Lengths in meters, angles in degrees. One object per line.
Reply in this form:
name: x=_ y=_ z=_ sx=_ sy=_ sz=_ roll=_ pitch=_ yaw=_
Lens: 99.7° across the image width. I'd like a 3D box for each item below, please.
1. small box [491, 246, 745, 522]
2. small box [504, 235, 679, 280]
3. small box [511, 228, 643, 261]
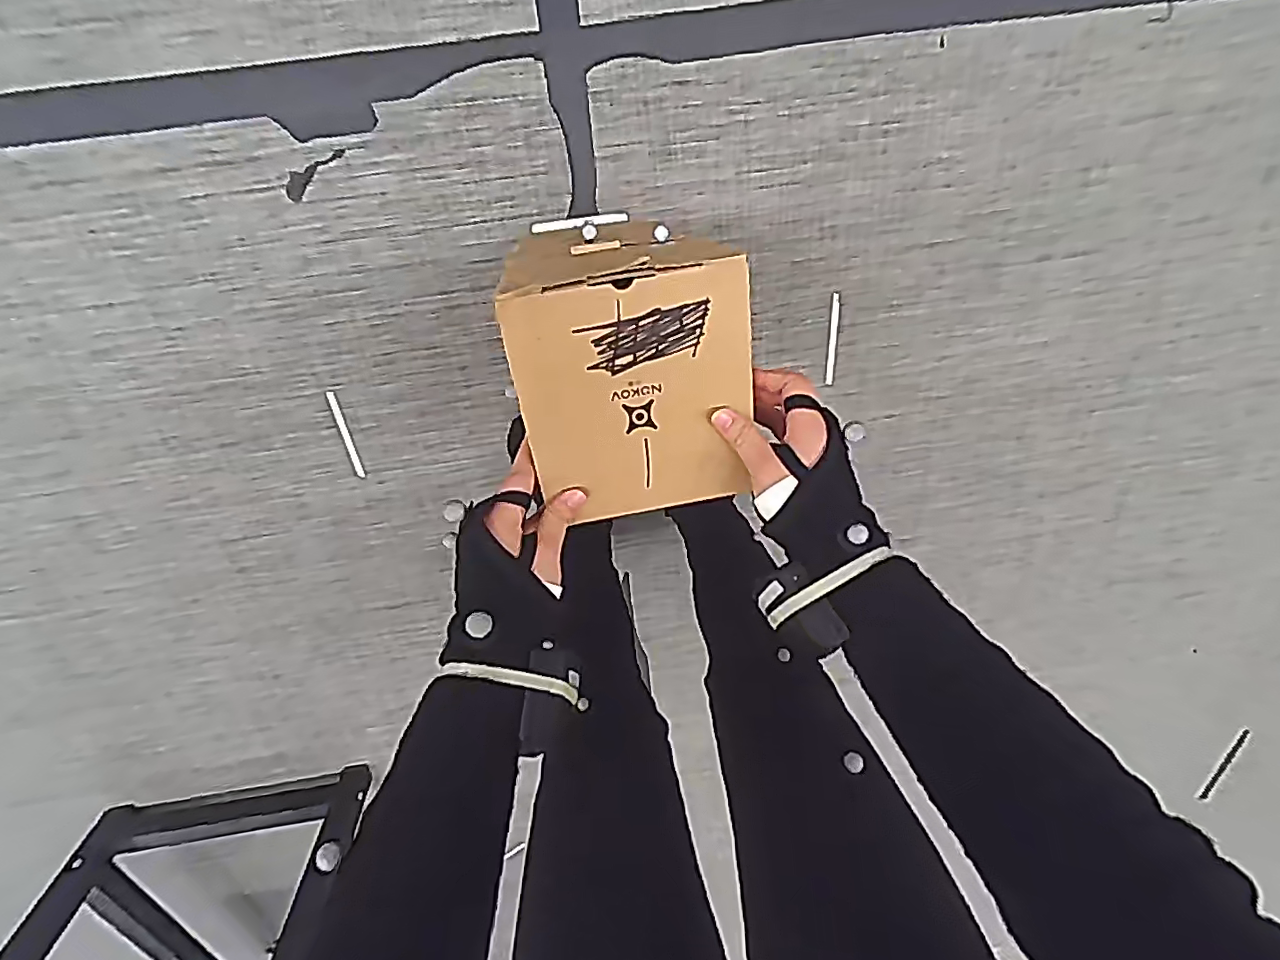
small box: x=-0.018 y=-0.093 z=0.455 sx=0.168 sy=0.176 sz=0.179 roll=-11 pitch=119 yaw=-3
small box: x=-0.045 y=-0.167 z=0.599 sx=0.168 sy=0.176 sz=0.179 roll=-11 pitch=118 yaw=-3
small box: x=-0.069 y=-0.245 z=0.741 sx=0.179 sy=0.176 sz=0.168 roll=-9 pitch=118 yaw=-3
